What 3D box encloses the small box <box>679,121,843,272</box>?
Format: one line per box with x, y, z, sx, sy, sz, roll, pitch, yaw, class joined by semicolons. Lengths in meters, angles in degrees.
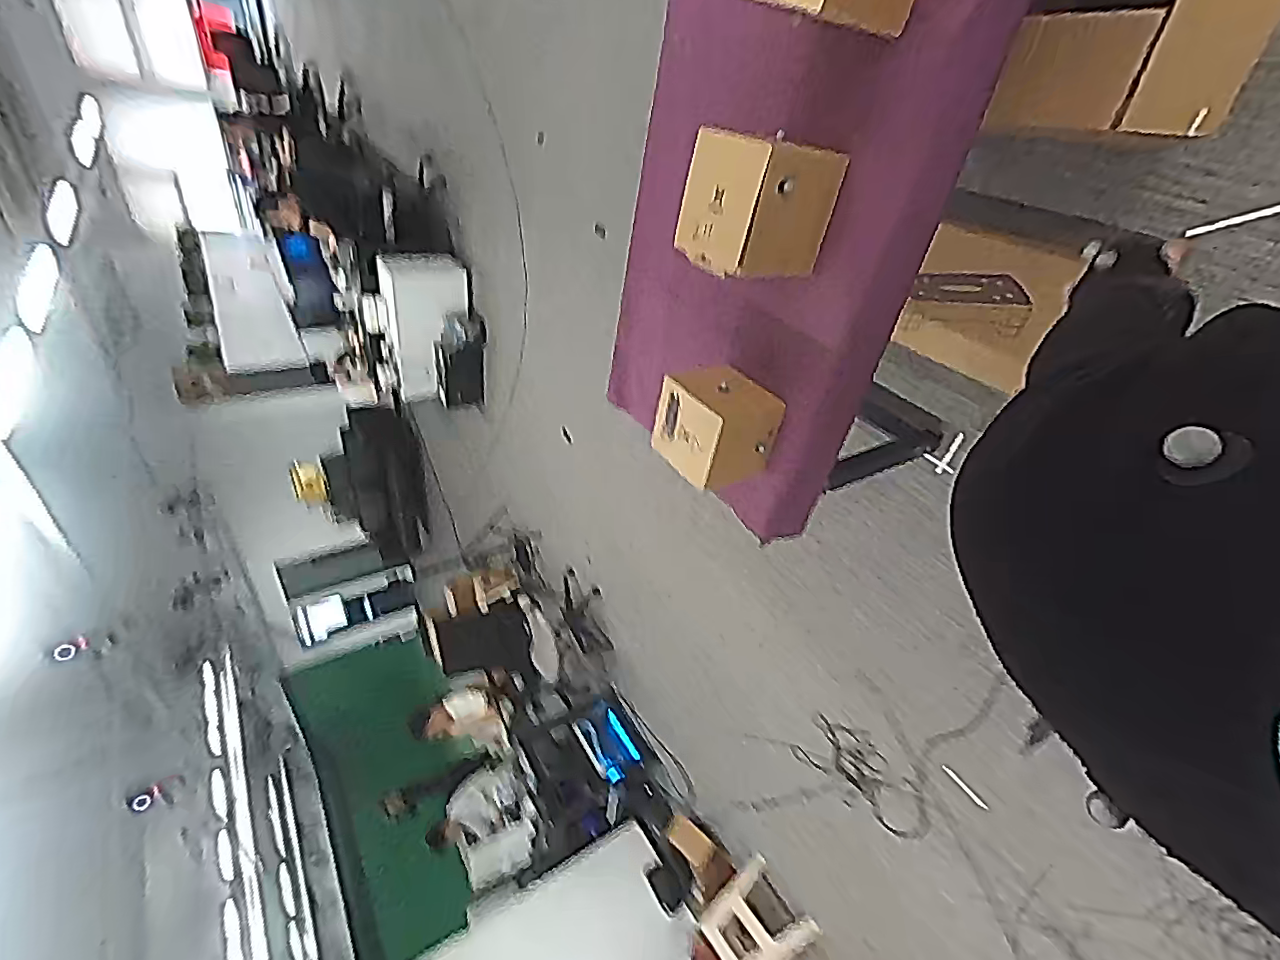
0.189;-0.444;0.855;0.168;0.176;0.179;48;140;39;small box

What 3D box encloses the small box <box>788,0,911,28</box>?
0.252;-0.682;0.653;0.168;0.176;0.179;51;141;32;small box
